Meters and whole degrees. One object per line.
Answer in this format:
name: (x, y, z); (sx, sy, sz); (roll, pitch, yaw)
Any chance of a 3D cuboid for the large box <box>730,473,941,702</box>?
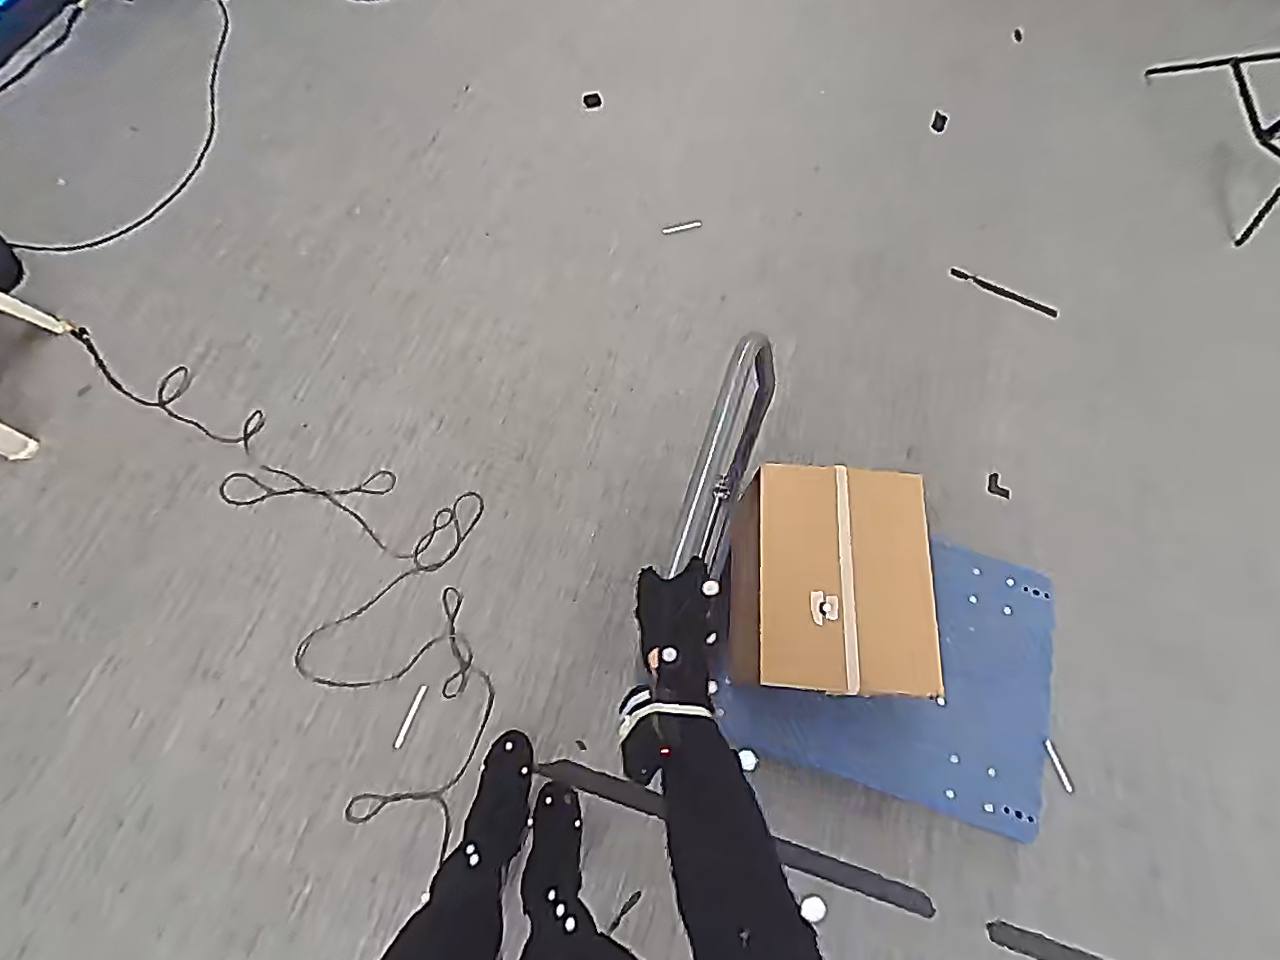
large box: (0.365, 0.227, 1.118); (0.320, 0.320, 0.408); (4, 70, 1)
